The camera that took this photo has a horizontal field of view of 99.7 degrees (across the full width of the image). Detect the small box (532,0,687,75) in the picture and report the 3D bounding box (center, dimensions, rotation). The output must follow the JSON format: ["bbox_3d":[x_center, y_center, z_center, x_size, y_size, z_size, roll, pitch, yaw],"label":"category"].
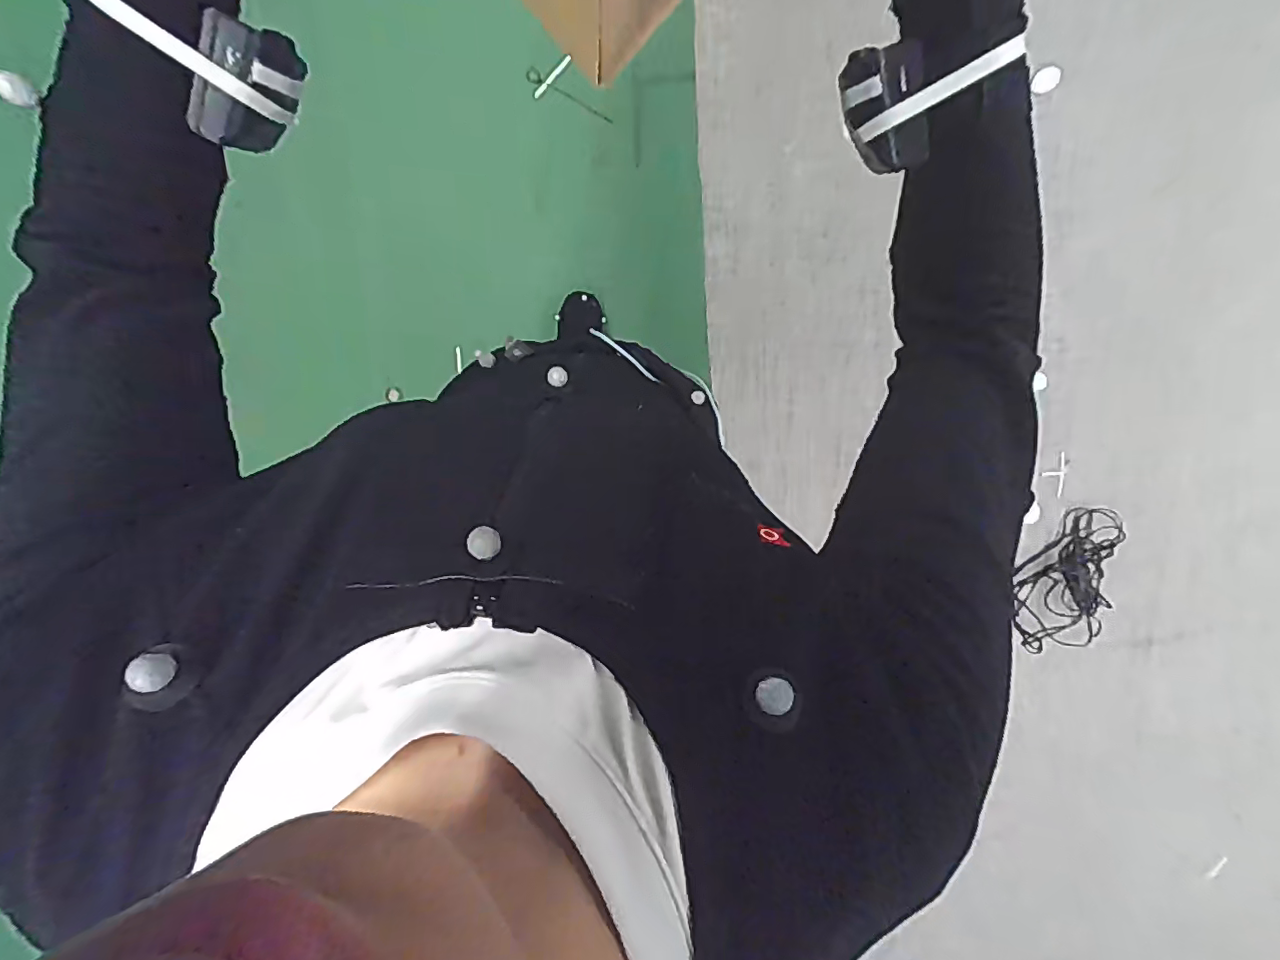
[{"bbox_3d":[-0.022,-0.391,0.308,0.168,0.176,0.179,-43,107,9],"label":"small box"}]
